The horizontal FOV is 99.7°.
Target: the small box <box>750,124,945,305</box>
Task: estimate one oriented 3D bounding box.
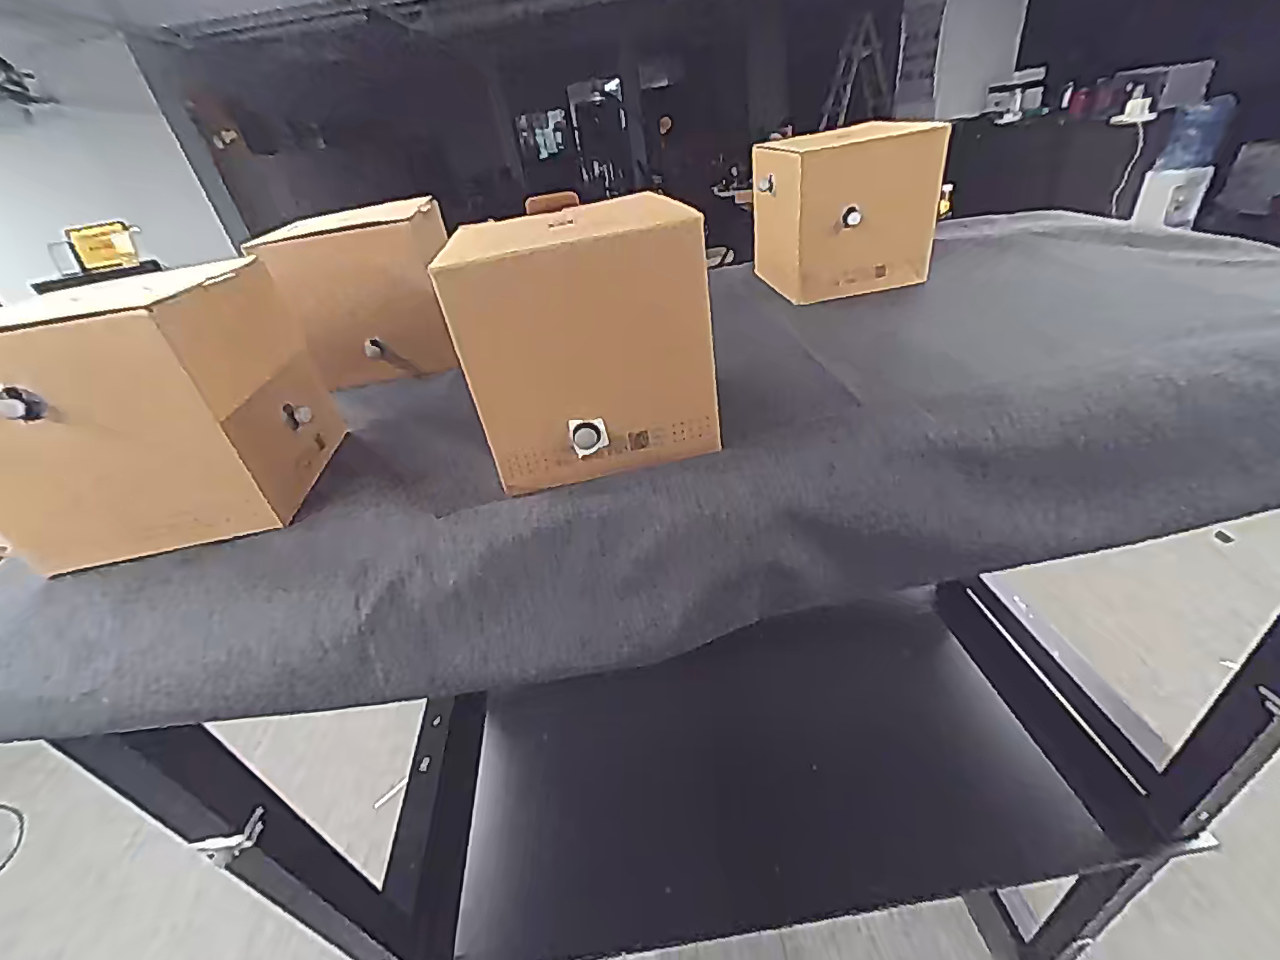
[{"bbox_3d":[0.245,-0.330,0.679,0.168,0.176,0.179,-11,34,-1],"label":"small box"}]

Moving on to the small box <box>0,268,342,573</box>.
[{"bbox_3d":[-0.373,-0.049,0.418,0.179,0.176,0.168,-12,33,-4],"label":"small box"}]

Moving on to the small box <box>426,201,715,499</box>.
[{"bbox_3d":[-0.046,-0.109,0.426,0.168,0.176,0.179,-13,33,-4],"label":"small box"}]

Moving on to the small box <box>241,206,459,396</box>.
[{"bbox_3d":[-0.321,-0.220,0.660,0.179,0.176,0.168,-11,34,-3],"label":"small box"}]
